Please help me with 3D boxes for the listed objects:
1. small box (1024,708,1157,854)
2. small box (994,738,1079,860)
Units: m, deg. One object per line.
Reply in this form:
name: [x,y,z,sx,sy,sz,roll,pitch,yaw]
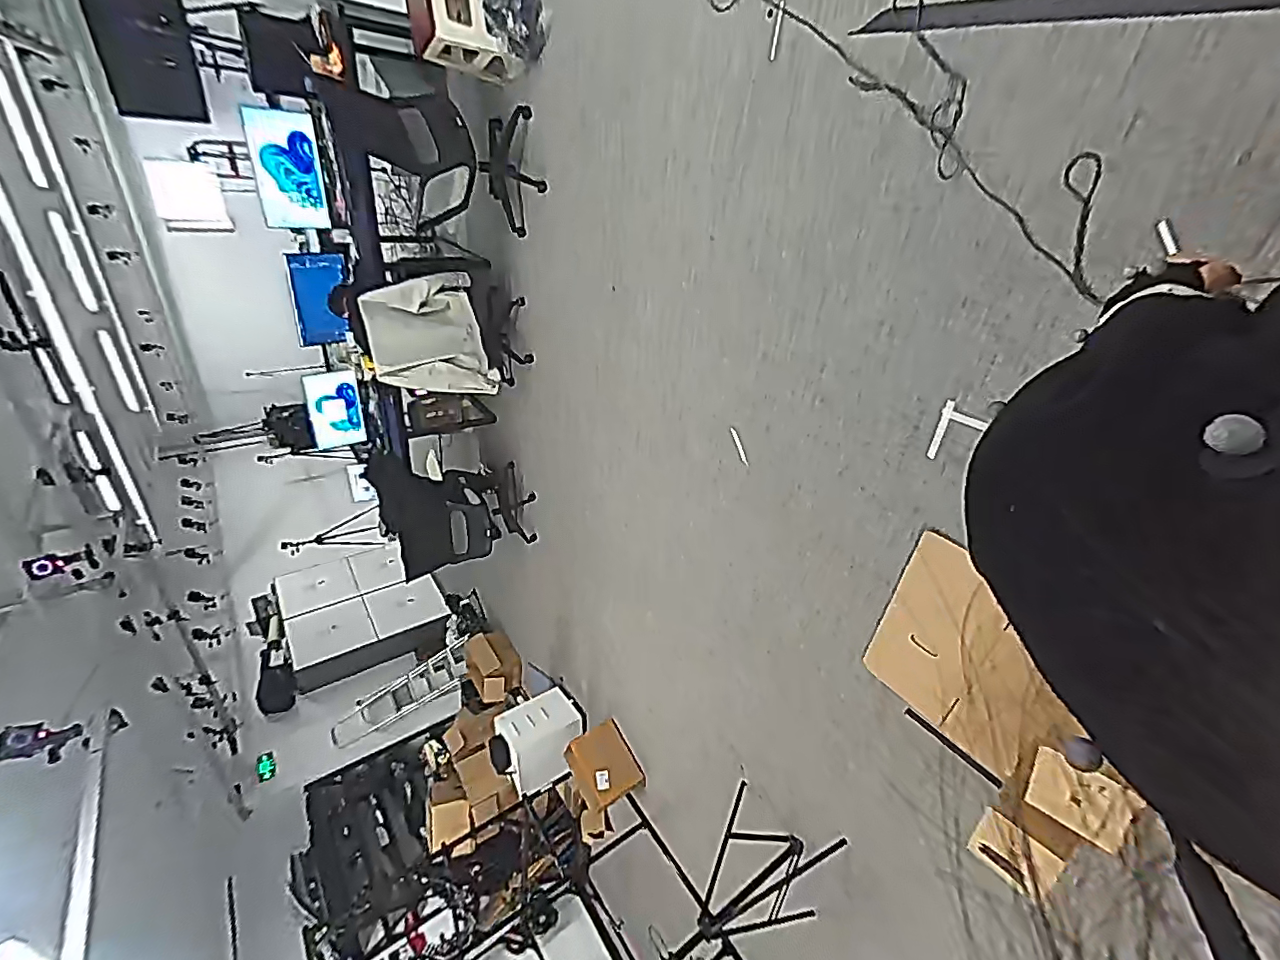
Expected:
small box: [0.969,0.637,1.163,0.168,0.176,0.179,23,122,48]
small box: [1.066,0.822,1.407,0.168,0.176,0.179,29,126,46]
